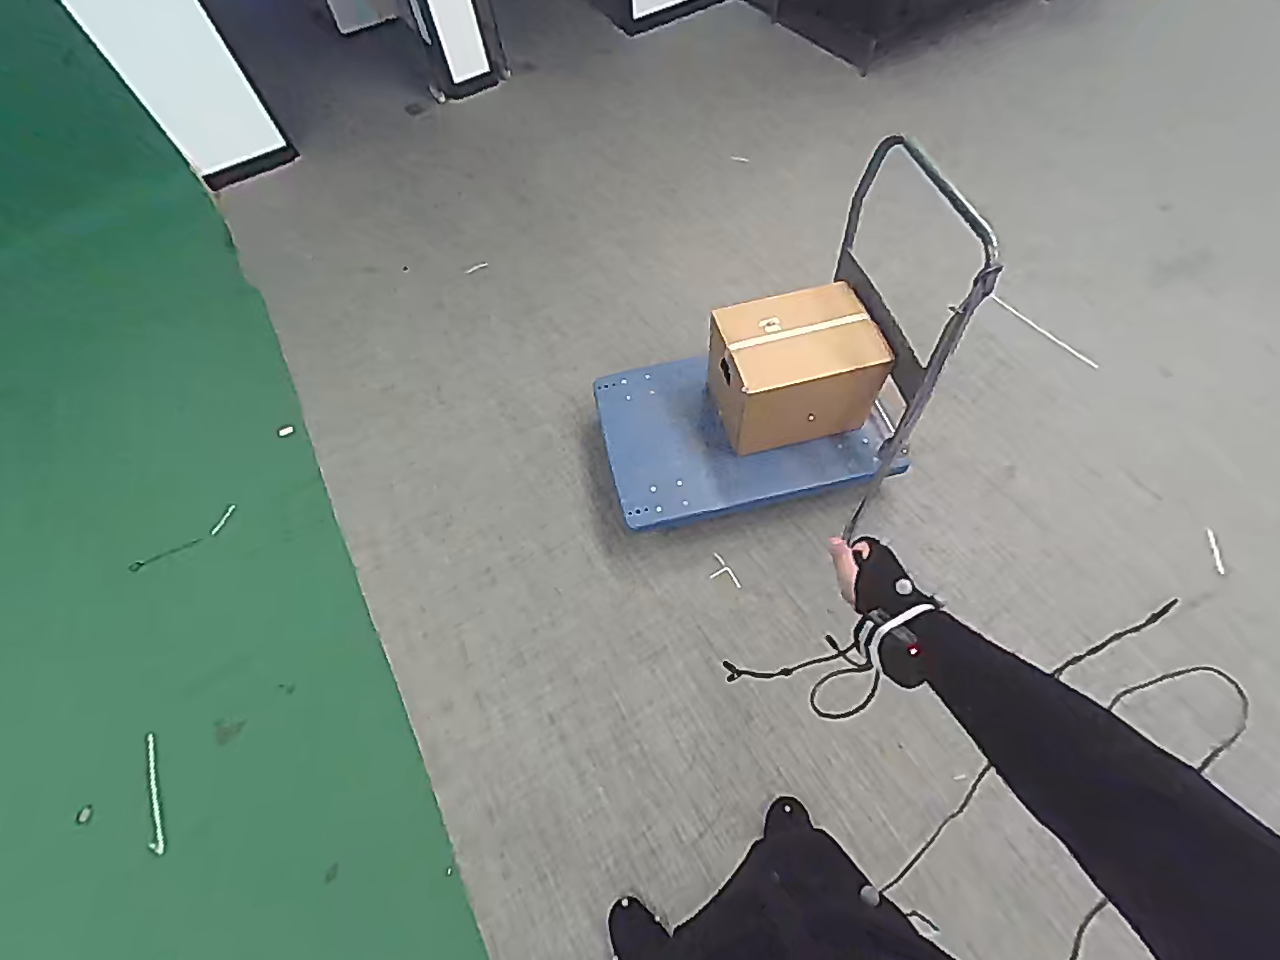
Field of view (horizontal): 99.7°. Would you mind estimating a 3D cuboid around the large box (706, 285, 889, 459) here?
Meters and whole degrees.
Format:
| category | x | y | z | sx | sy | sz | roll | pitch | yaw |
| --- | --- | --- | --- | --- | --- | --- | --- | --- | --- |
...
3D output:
| category | x | y | z | sx | sy | sz | roll | pitch | yaw |
| --- | --- | --- | --- | --- | --- | --- | --- | --- | --- |
| large box | 0.429 | -0.305 | 1.578 | 0.408 | 0.320 | 0.320 | -14 | 60 | -2 |
